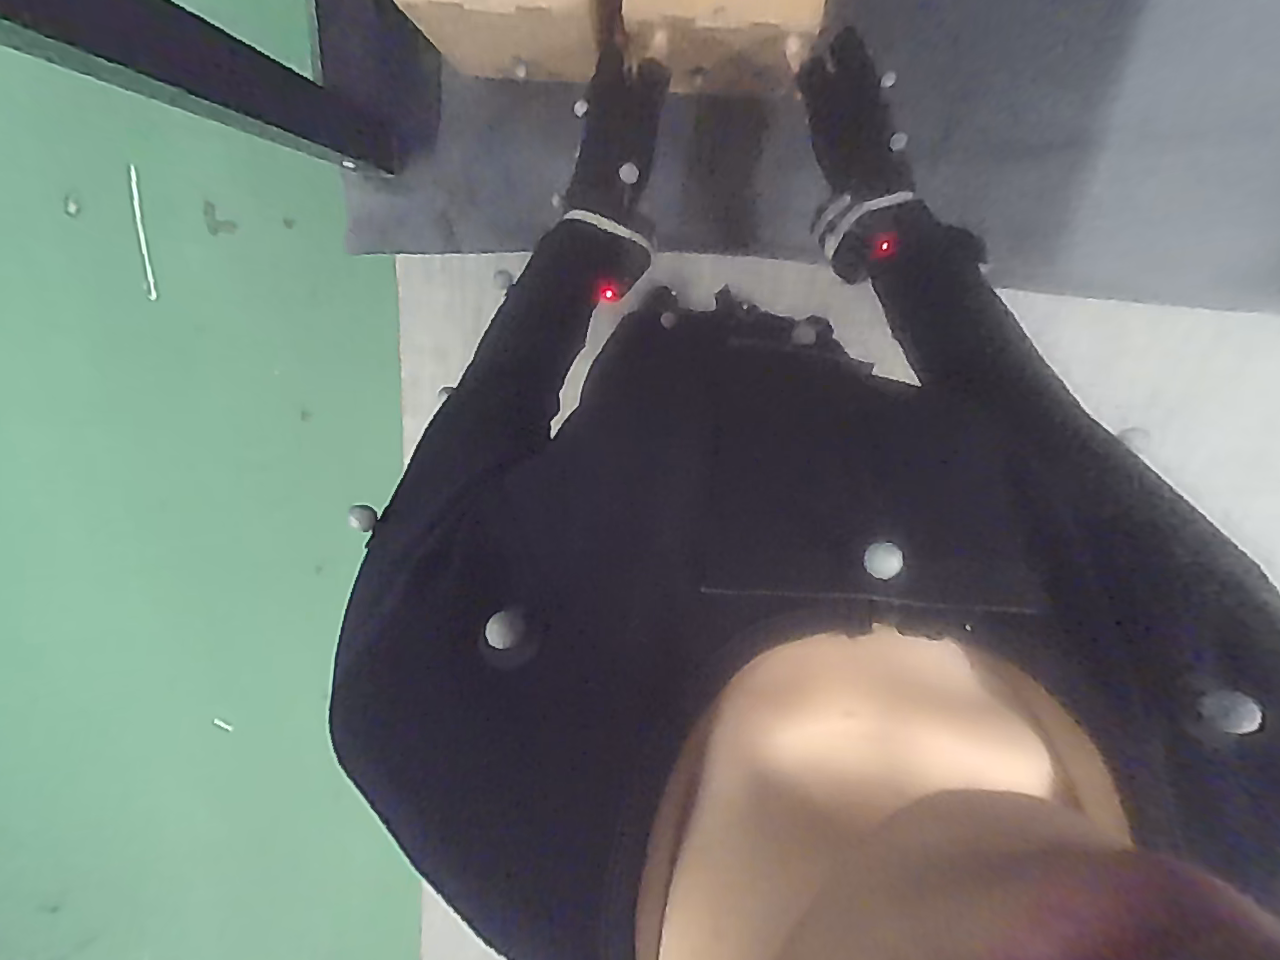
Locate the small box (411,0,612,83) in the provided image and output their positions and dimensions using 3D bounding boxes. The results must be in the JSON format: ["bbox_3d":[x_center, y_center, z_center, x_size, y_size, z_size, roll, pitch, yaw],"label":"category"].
[{"bbox_3d":[-0.115,-0.500,0.491,0.168,0.176,0.179,5,109,2],"label":"small box"}]

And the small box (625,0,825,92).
[{"bbox_3d":[0.077,-0.486,0.487,0.168,0.176,0.179,5,110,2],"label":"small box"}]
